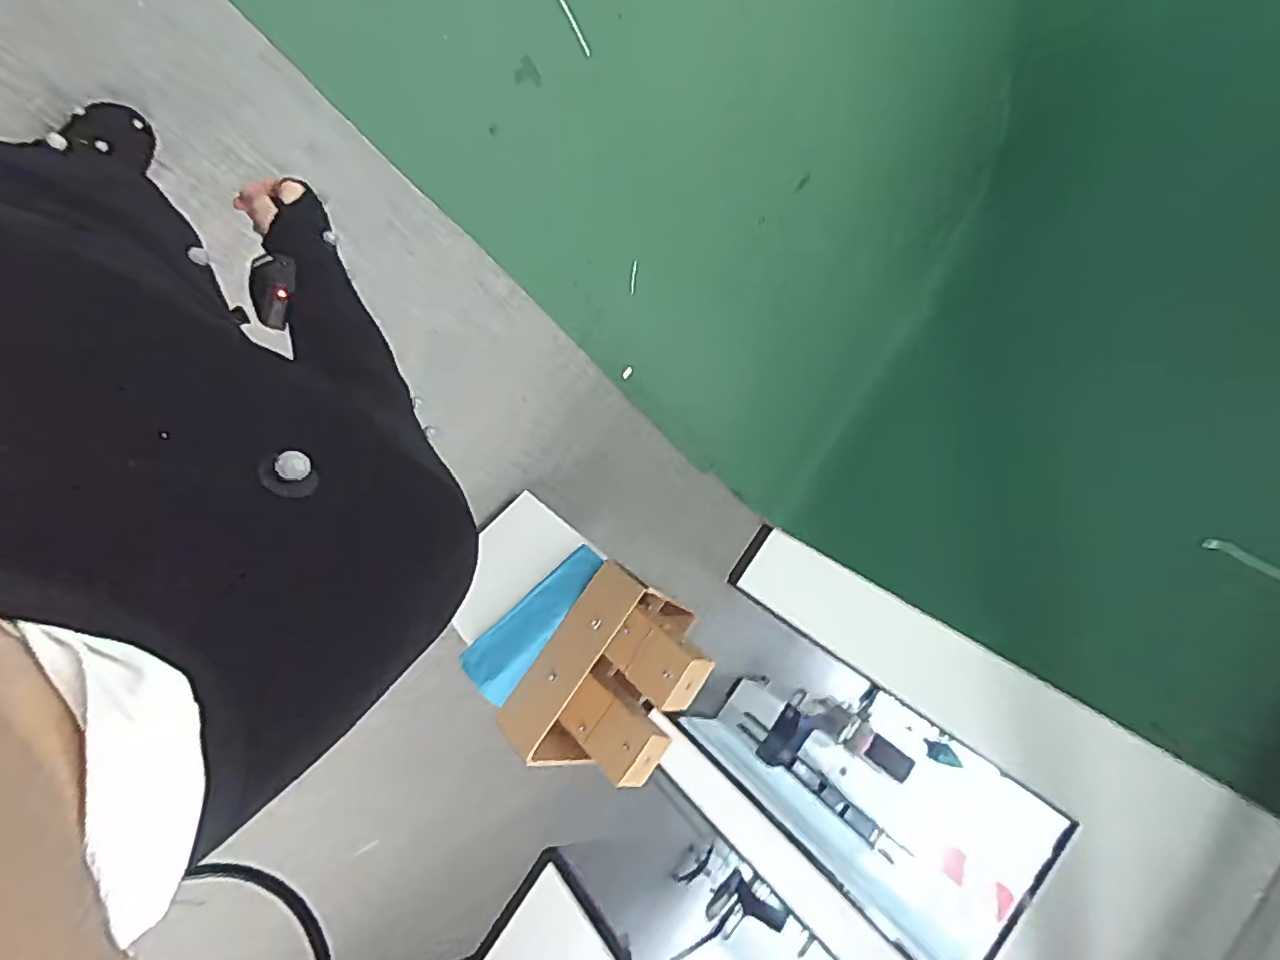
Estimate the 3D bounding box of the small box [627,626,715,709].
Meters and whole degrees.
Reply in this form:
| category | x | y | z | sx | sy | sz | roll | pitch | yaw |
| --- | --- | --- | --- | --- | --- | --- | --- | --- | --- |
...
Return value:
| category | x | y | z | sx | sy | sz | roll | pitch | yaw |
| --- | --- | --- | --- | --- | --- | --- | --- | --- | --- |
| small box | 0.089 | 0.565 | 1.641 | 0.179 | 0.176 | 0.168 | -57 | 142 | 1 |

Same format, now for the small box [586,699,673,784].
| category | x | y | z | sx | sy | sz | roll | pitch | yaw |
| --- | --- | --- | --- | --- | --- | --- | --- | --- | --- |
| small box | -0.034 | 0.808 | 1.675 | 0.179 | 0.176 | 0.168 | -53 | 141 | -6 |
